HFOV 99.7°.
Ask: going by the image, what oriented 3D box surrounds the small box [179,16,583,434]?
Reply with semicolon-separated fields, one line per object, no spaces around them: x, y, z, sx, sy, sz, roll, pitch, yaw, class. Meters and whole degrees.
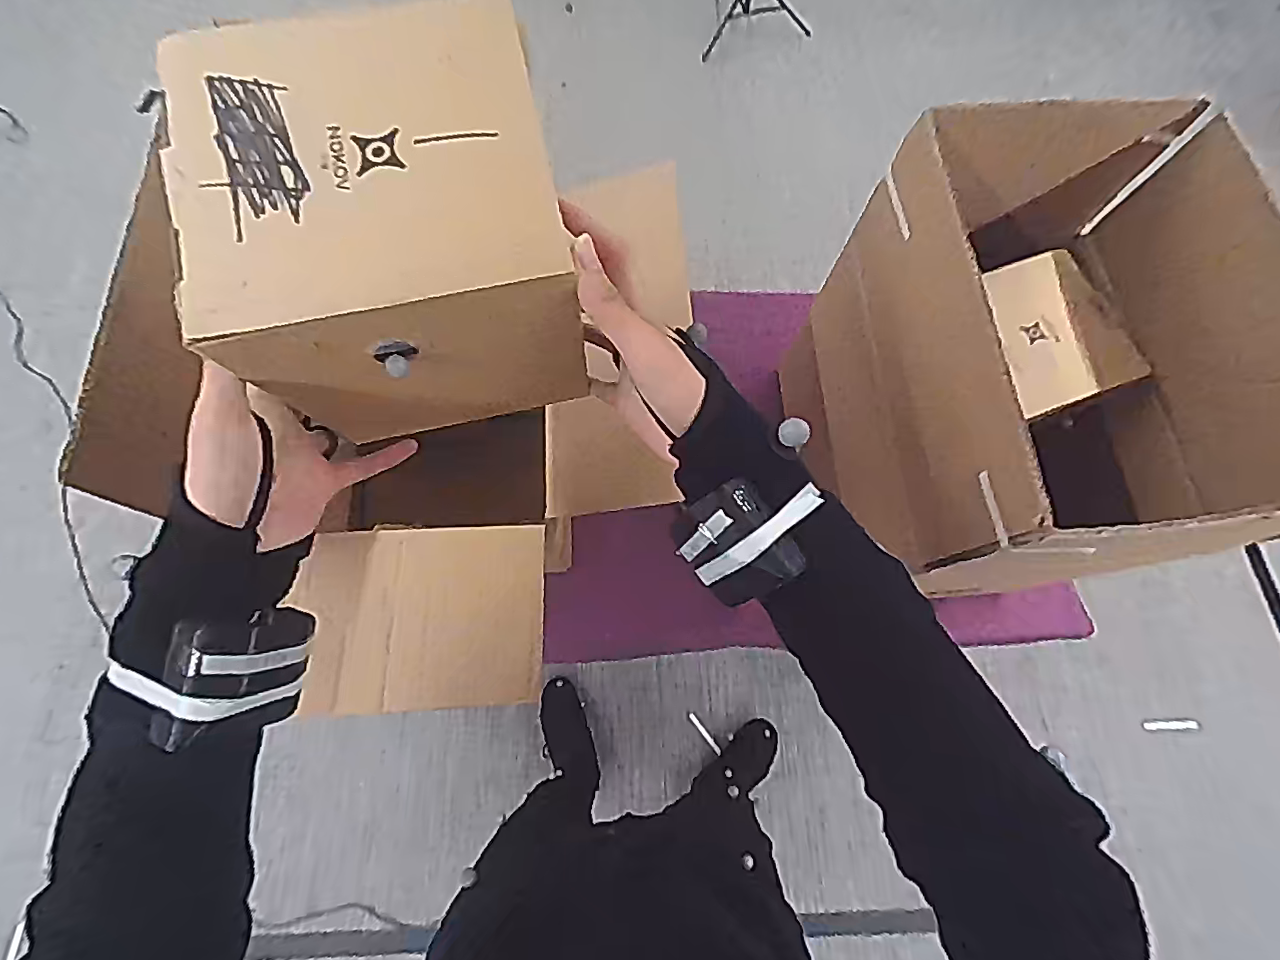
-0.141;-0.140;0.350;0.179;0.176;0.168;-13;79;-6;small box
